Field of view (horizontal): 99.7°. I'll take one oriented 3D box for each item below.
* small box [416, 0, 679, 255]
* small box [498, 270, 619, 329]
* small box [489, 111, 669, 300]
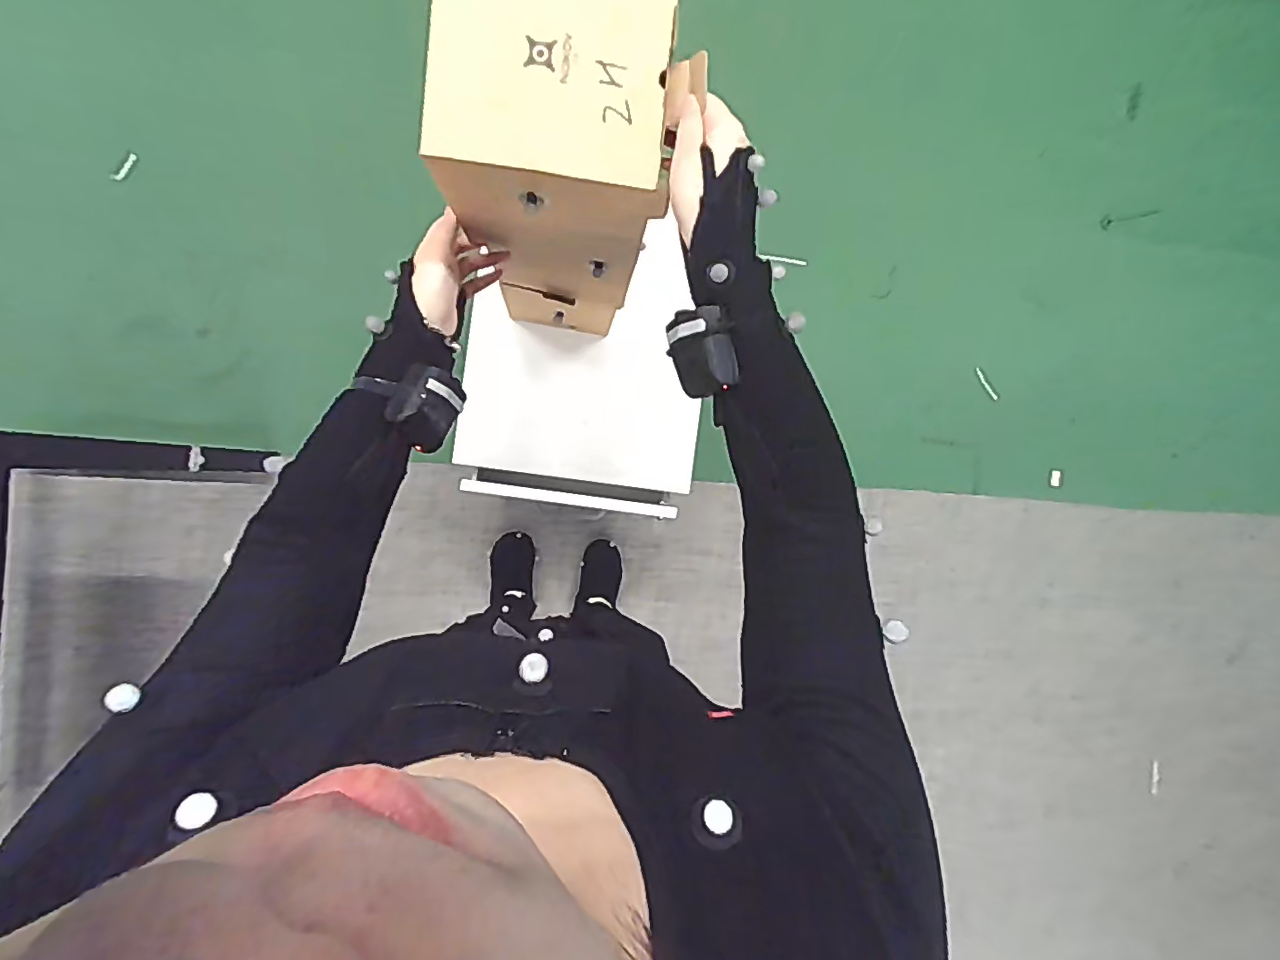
[{"bbox_3d":[-0.070,-0.308,0.459,0.179,0.176,0.168,5,95,-6],"label":"small box"},{"bbox_3d":[-0.105,-0.336,0.799,0.168,0.176,0.179,8,90,-8],"label":"small box"},{"bbox_3d":[-0.079,-0.330,0.638,0.179,0.176,0.168,11,89,-8],"label":"small box"}]
